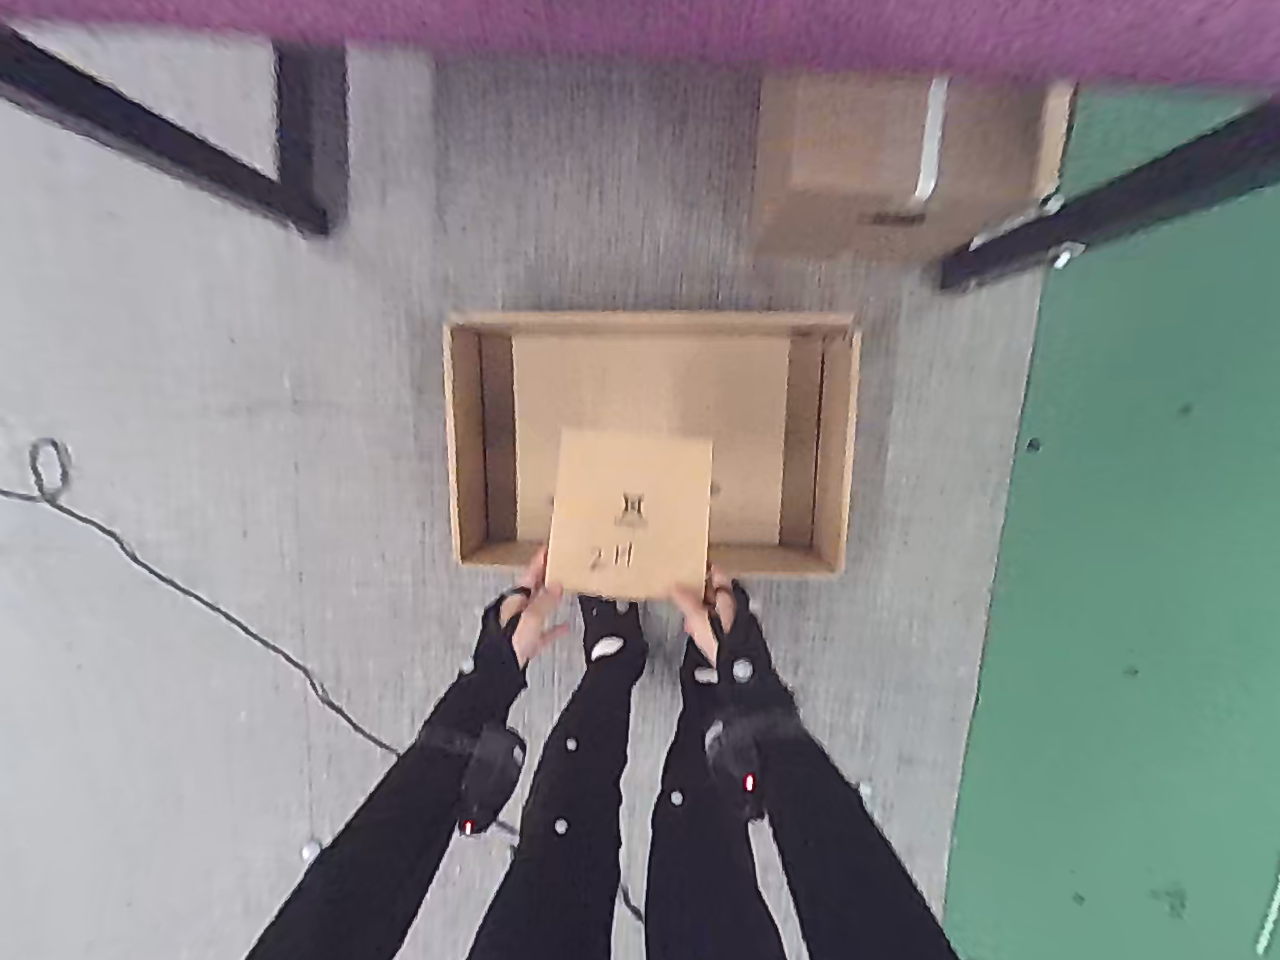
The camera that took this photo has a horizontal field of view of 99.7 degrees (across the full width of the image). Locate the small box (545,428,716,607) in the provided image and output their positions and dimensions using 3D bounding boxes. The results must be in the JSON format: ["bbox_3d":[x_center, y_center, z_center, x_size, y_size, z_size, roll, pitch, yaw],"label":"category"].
[{"bbox_3d":[-0.009,0.054,0.643,0.168,0.176,0.179,6,77,1],"label":"small box"}]
